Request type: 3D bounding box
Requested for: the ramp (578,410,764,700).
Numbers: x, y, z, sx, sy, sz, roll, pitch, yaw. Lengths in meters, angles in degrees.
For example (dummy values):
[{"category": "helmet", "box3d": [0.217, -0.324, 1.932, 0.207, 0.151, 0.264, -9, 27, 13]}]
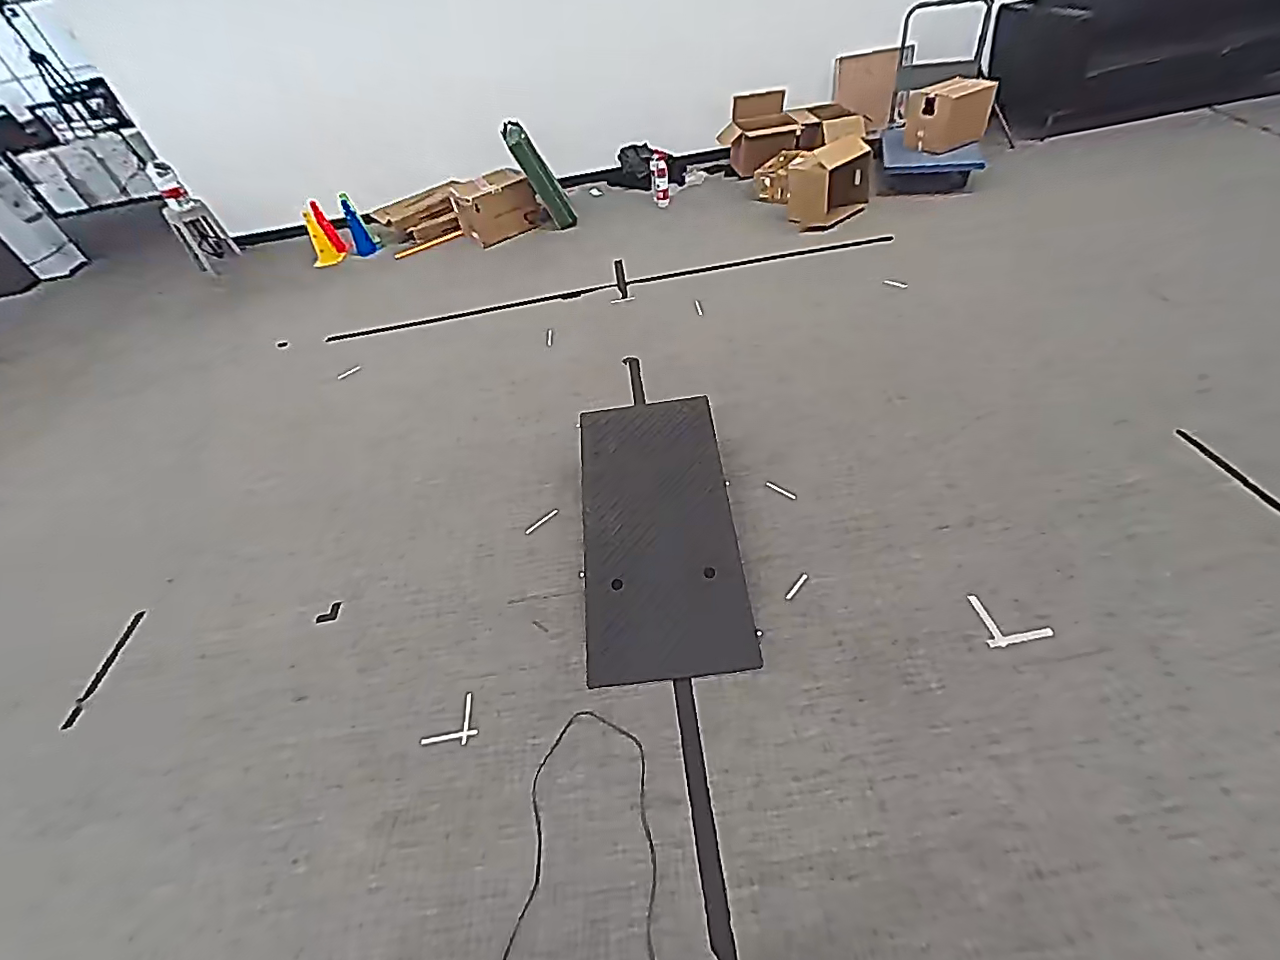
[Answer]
[{"category": "ramp", "box3d": [0.056, 0.176, 1.786, 0.509, 0.206, 0.991, -10, 45, 0]}]
